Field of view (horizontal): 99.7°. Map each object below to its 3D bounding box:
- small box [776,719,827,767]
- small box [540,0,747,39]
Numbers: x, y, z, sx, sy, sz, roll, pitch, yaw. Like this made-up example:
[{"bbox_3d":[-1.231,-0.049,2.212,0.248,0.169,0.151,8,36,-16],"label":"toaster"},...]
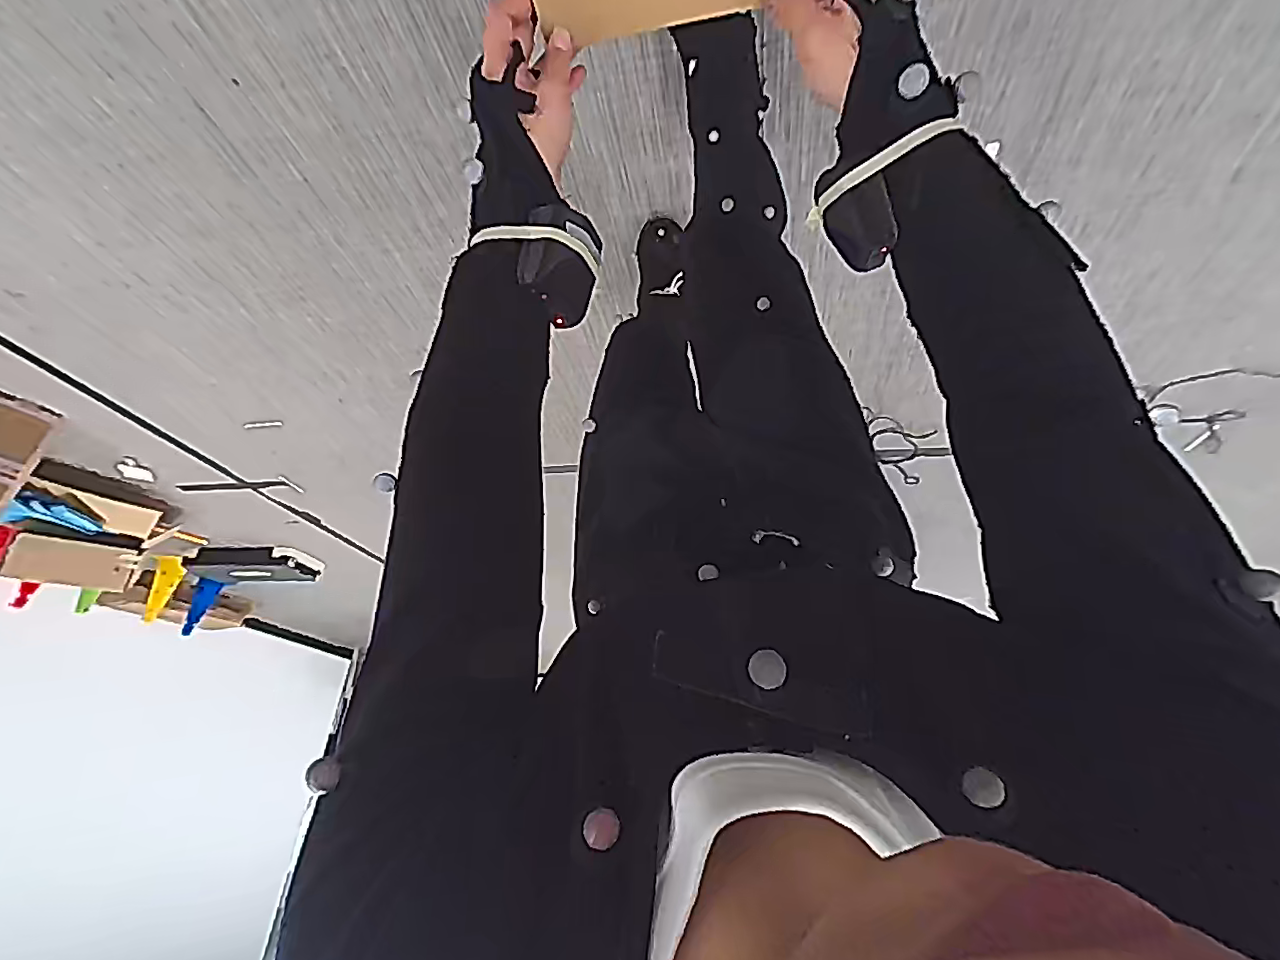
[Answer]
[{"bbox_3d":[0.652,1.071,2.202,0.179,0.176,0.168,-2,151,11],"label":"small box"},{"bbox_3d":[0.008,-0.421,0.329,0.168,0.176,0.179,-2,148,12],"label":"small box"}]
